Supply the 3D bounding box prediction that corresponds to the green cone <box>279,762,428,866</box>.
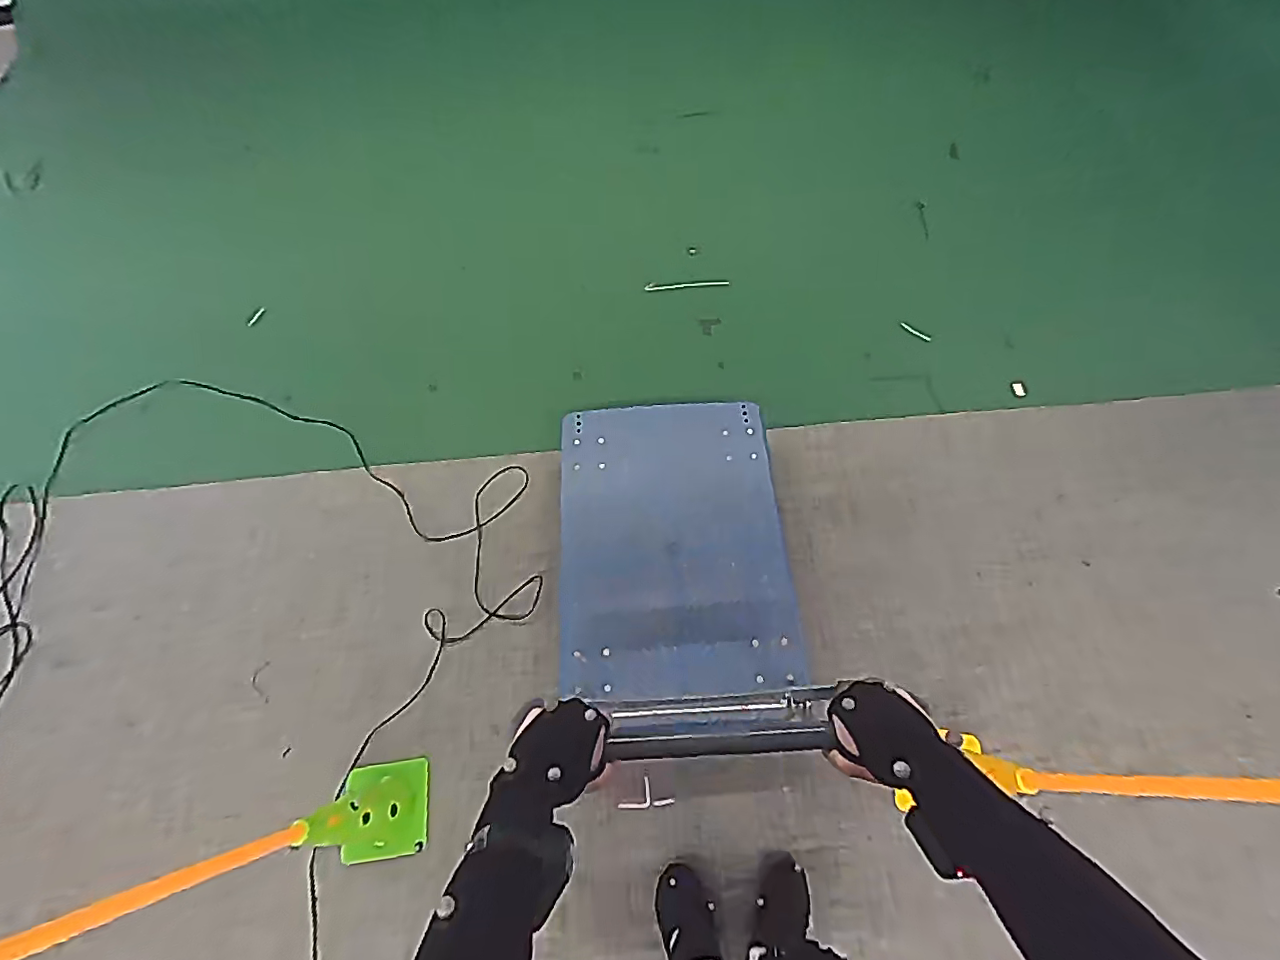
[{"bbox_3d":[-0.621,0.723,1.145,0.202,0.368,0.200,-10,64,0],"label":"green cone"}]
